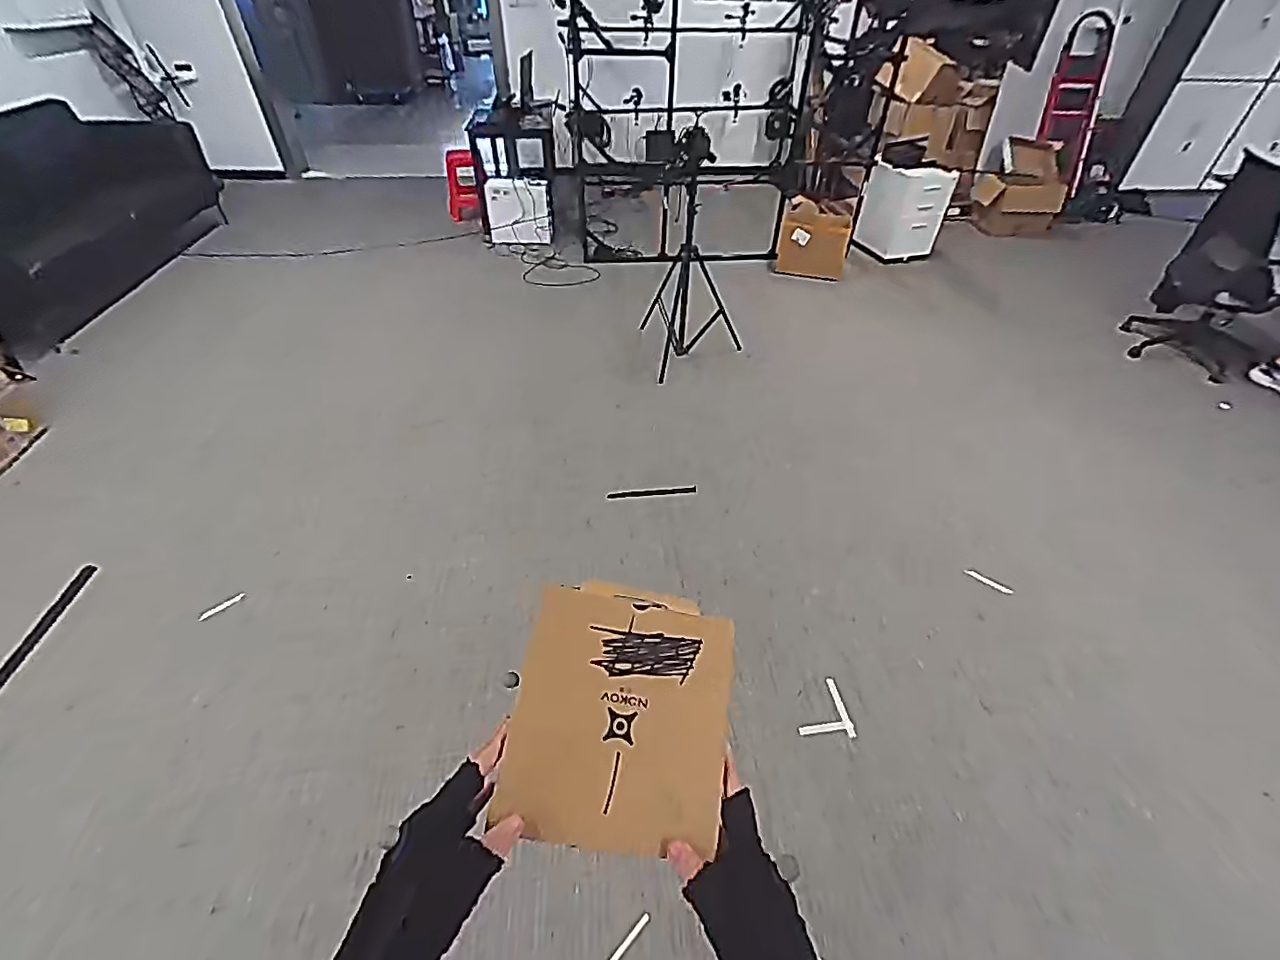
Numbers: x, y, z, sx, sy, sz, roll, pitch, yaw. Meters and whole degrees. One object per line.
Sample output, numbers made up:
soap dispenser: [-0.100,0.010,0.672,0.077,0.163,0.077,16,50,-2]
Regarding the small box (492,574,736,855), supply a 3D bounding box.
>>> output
small box: [-0.027,0.202,0.479,0.168,0.176,0.179,13,64,-7]
